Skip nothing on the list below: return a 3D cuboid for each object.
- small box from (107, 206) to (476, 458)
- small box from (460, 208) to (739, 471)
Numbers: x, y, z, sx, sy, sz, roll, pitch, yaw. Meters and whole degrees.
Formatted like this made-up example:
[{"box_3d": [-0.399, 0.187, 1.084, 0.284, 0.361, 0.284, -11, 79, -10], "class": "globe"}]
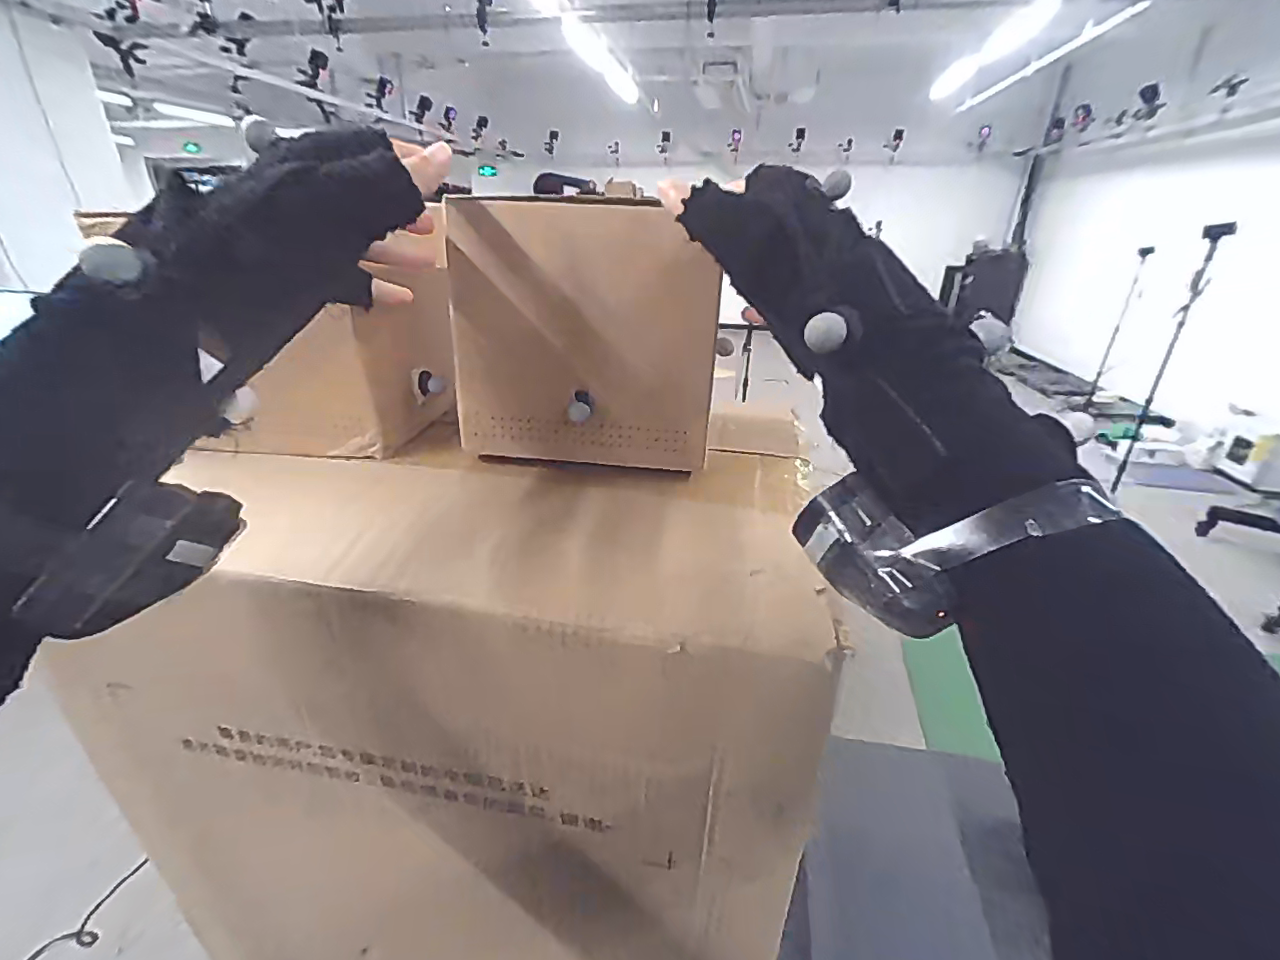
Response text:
[{"box_3d": [-0.250, -0.128, 0.443, 0.179, 0.176, 0.168, 5, 29, 5], "class": "small box"}, {"box_3d": [-0.021, -0.113, 0.432, 0.179, 0.176, 0.168, 4, 21, 5], "class": "small box"}]
